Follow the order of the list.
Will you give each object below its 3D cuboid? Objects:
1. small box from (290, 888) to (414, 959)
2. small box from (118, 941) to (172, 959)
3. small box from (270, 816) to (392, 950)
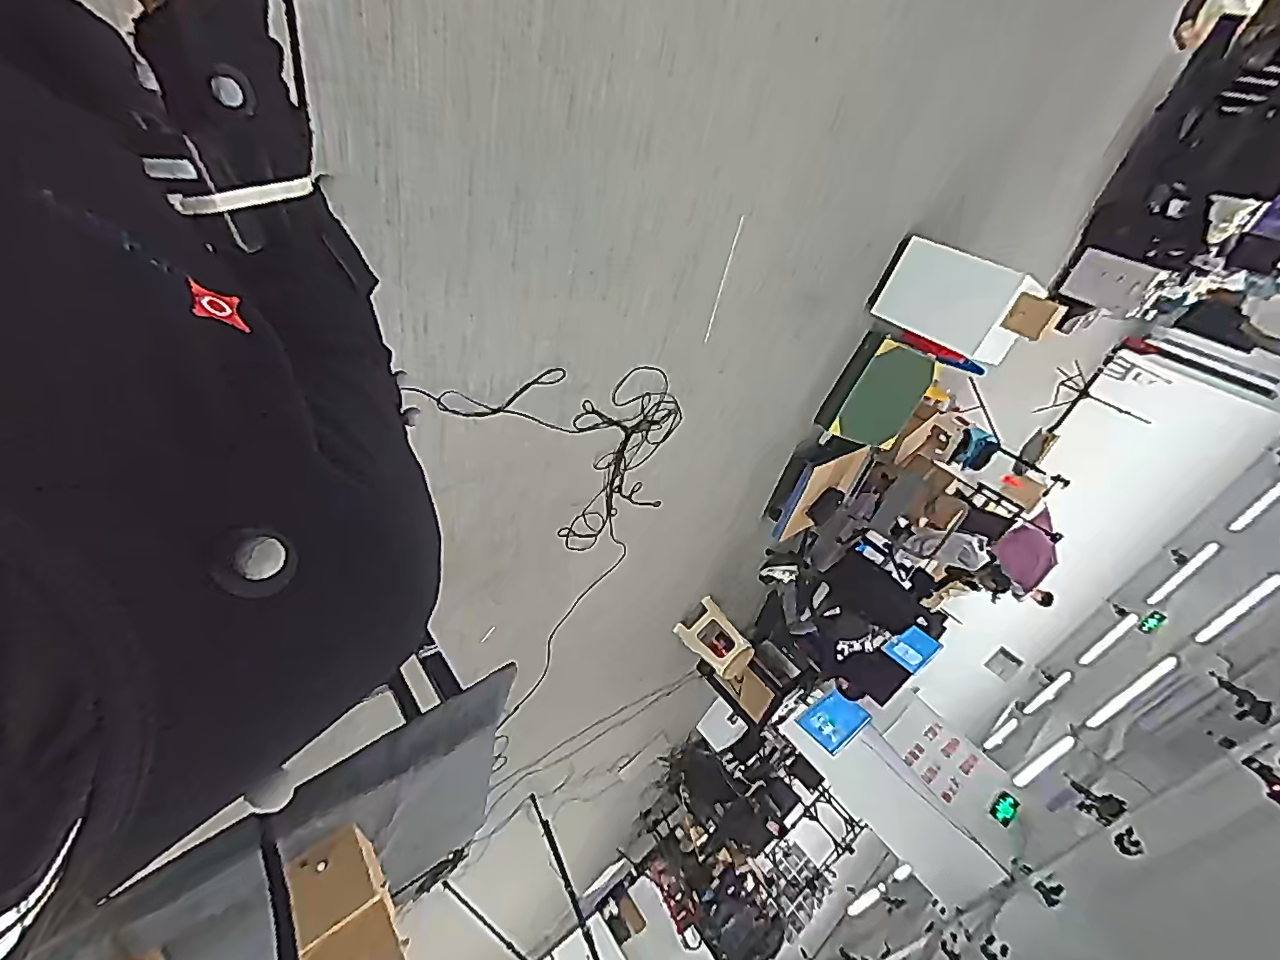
[{"bbox_3d":[-0.563,0.971,1.079,0.179,0.176,0.168,-21,138,-33],"label":"small box"},{"bbox_3d":[-0.934,0.978,0.959,0.168,0.176,0.179,-17,136,-39],"label":"small box"},{"bbox_3d":[-0.658,0.866,1.159,0.168,0.176,0.179,-25,141,-31],"label":"small box"}]
